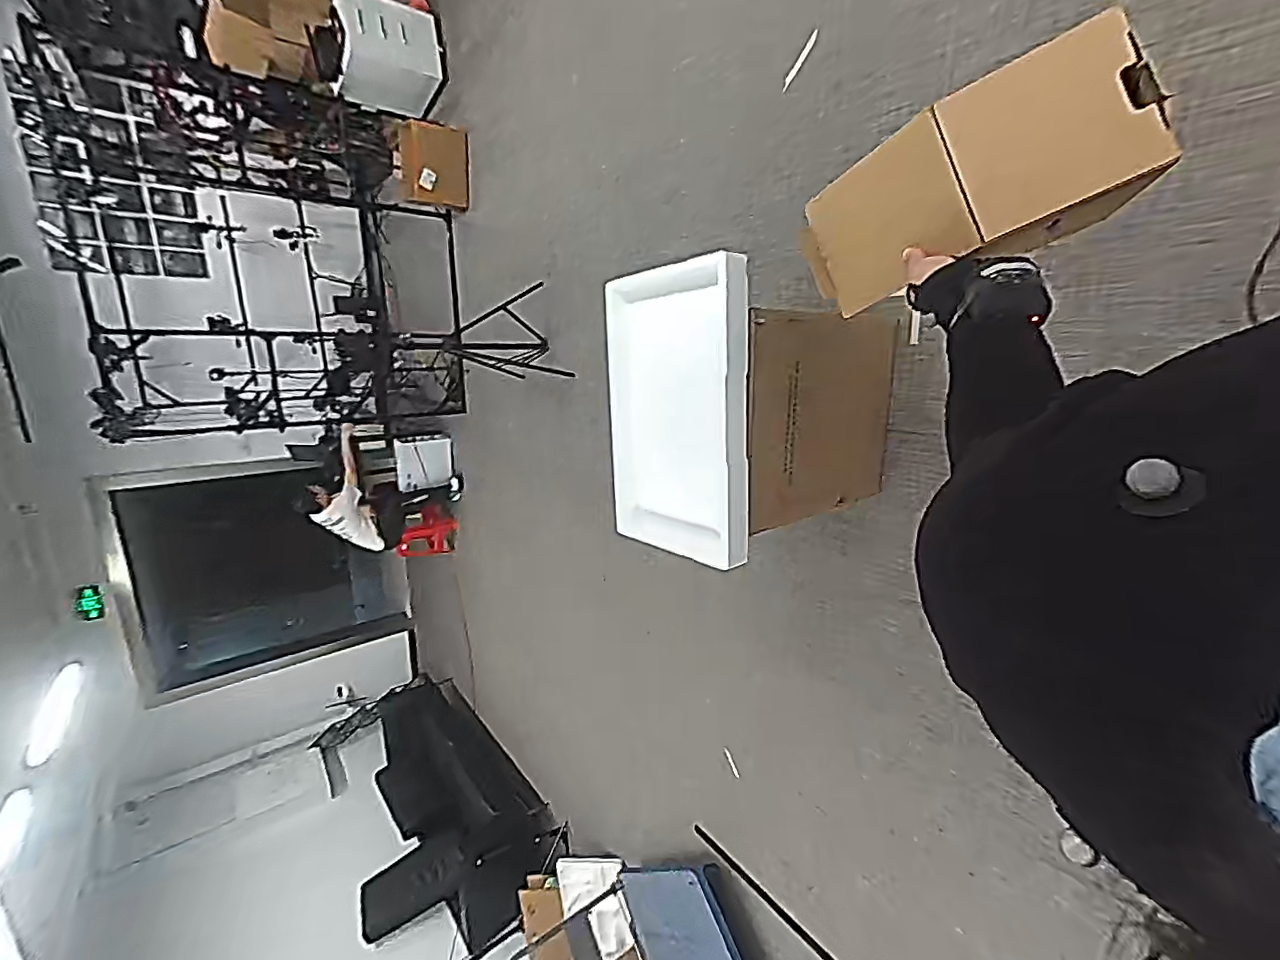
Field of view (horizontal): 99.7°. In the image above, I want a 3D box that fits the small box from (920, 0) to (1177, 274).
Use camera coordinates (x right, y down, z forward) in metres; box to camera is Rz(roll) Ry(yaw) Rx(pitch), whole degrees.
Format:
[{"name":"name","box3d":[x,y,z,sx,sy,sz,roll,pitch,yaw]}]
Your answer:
[{"name":"small box","box3d":[0.437,-0.362,0.617,0.179,0.176,0.168,-19,88,22]}]
